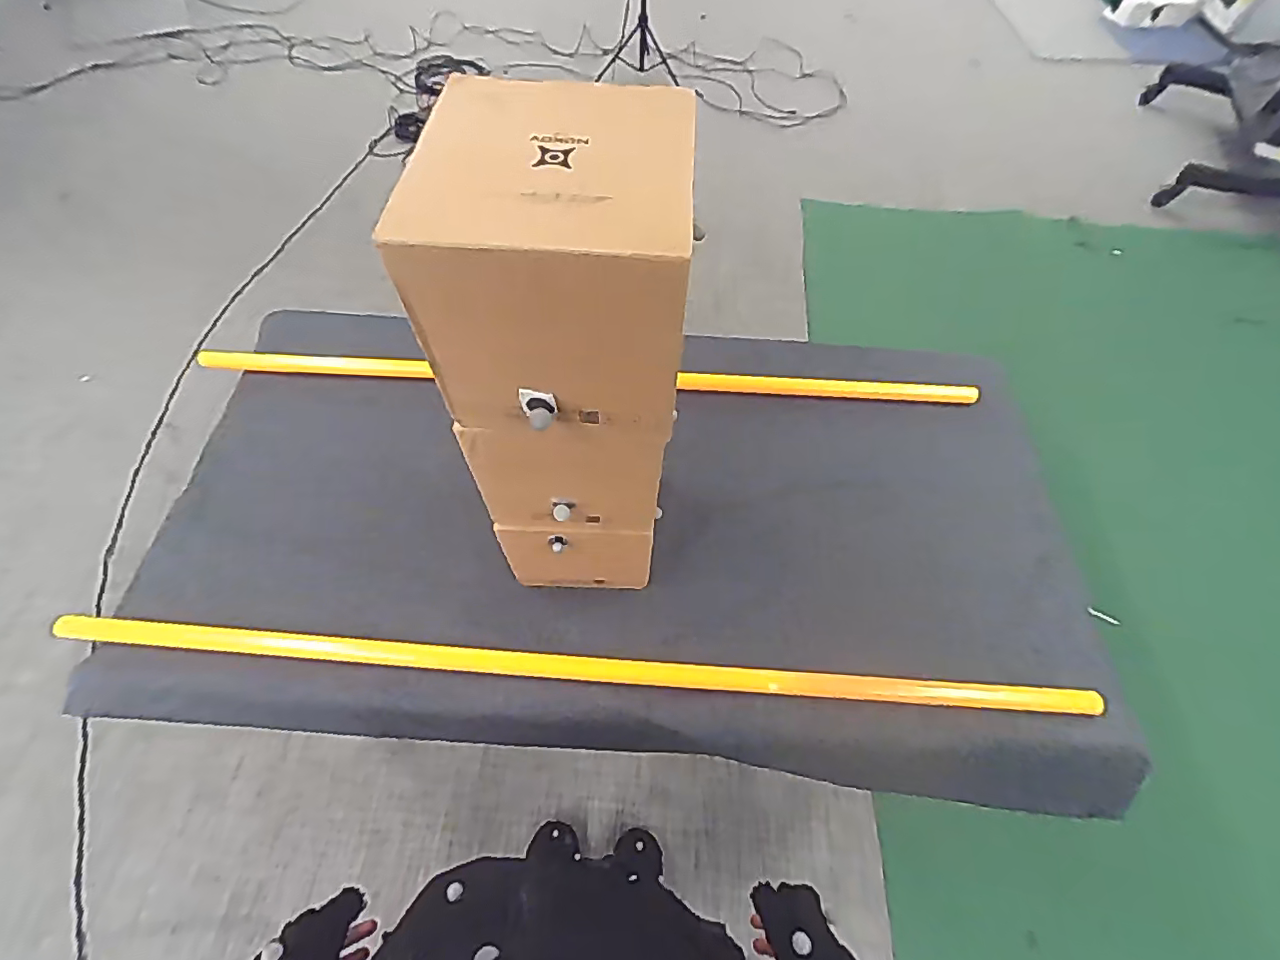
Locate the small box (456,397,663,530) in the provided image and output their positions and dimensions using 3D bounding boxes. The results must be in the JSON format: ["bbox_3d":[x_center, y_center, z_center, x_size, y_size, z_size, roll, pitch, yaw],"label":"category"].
[{"bbox_3d":[-0.062,-0.068,0.532,0.168,0.176,0.179,3,60,0],"label":"small box"}]

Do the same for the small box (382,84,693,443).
[{"bbox_3d":[-0.052,-0.148,0.392,0.168,0.176,0.179,2,60,1],"label":"small box"}]

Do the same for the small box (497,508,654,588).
[{"bbox_3d":[-0.068,0.019,0.671,0.168,0.176,0.179,1,59,0],"label":"small box"}]
